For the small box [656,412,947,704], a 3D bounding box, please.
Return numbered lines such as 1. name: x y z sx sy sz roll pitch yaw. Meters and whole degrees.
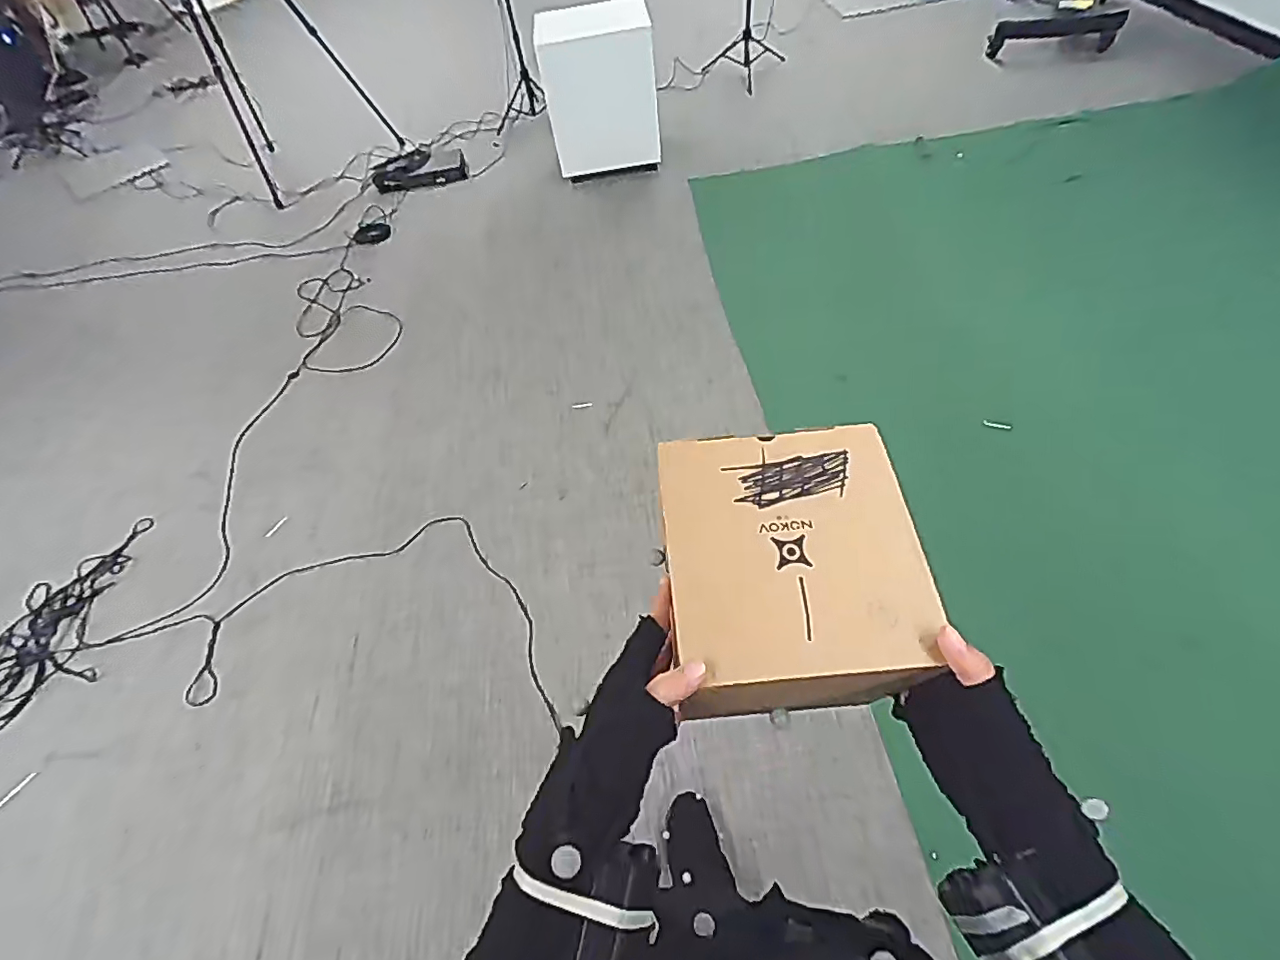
1. small box: 0.100 0.069 0.432 0.168 0.176 0.179 -5 60 0
